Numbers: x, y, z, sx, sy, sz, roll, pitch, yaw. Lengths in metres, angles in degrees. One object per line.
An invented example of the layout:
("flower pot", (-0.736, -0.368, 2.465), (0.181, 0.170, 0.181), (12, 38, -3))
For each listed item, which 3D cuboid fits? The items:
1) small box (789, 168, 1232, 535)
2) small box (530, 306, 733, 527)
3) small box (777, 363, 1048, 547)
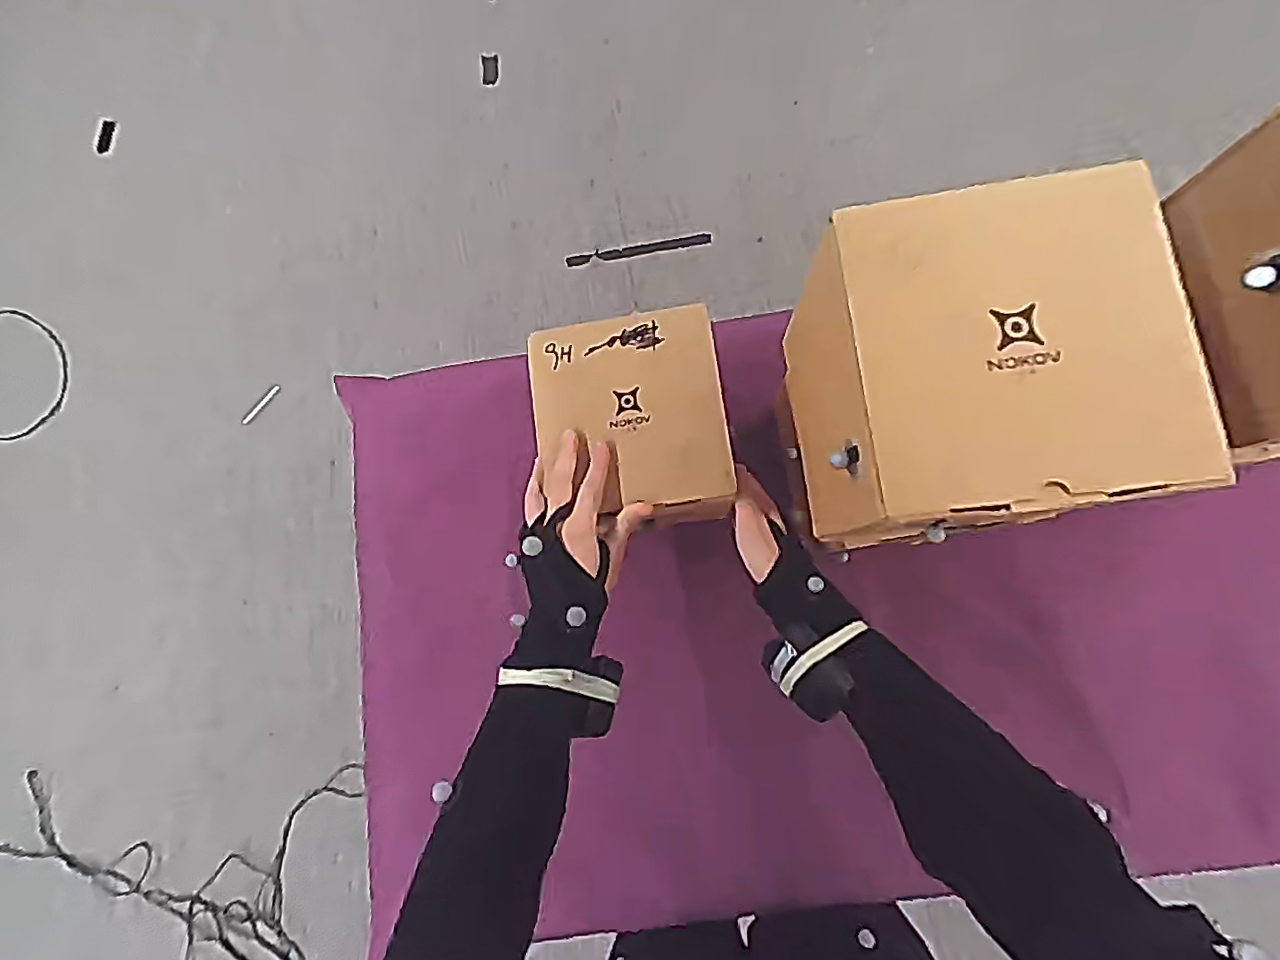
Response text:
("small box", (0.204, -0.062, 0.360), (0.168, 0.176, 0.179), (-7, 81, 5))
("small box", (-0.001, -0.047, 0.545), (0.168, 0.176, 0.179), (-8, 81, 5))
("small box", (0.236, -0.032, 0.517), (0.168, 0.176, 0.179), (-9, 79, 4))
